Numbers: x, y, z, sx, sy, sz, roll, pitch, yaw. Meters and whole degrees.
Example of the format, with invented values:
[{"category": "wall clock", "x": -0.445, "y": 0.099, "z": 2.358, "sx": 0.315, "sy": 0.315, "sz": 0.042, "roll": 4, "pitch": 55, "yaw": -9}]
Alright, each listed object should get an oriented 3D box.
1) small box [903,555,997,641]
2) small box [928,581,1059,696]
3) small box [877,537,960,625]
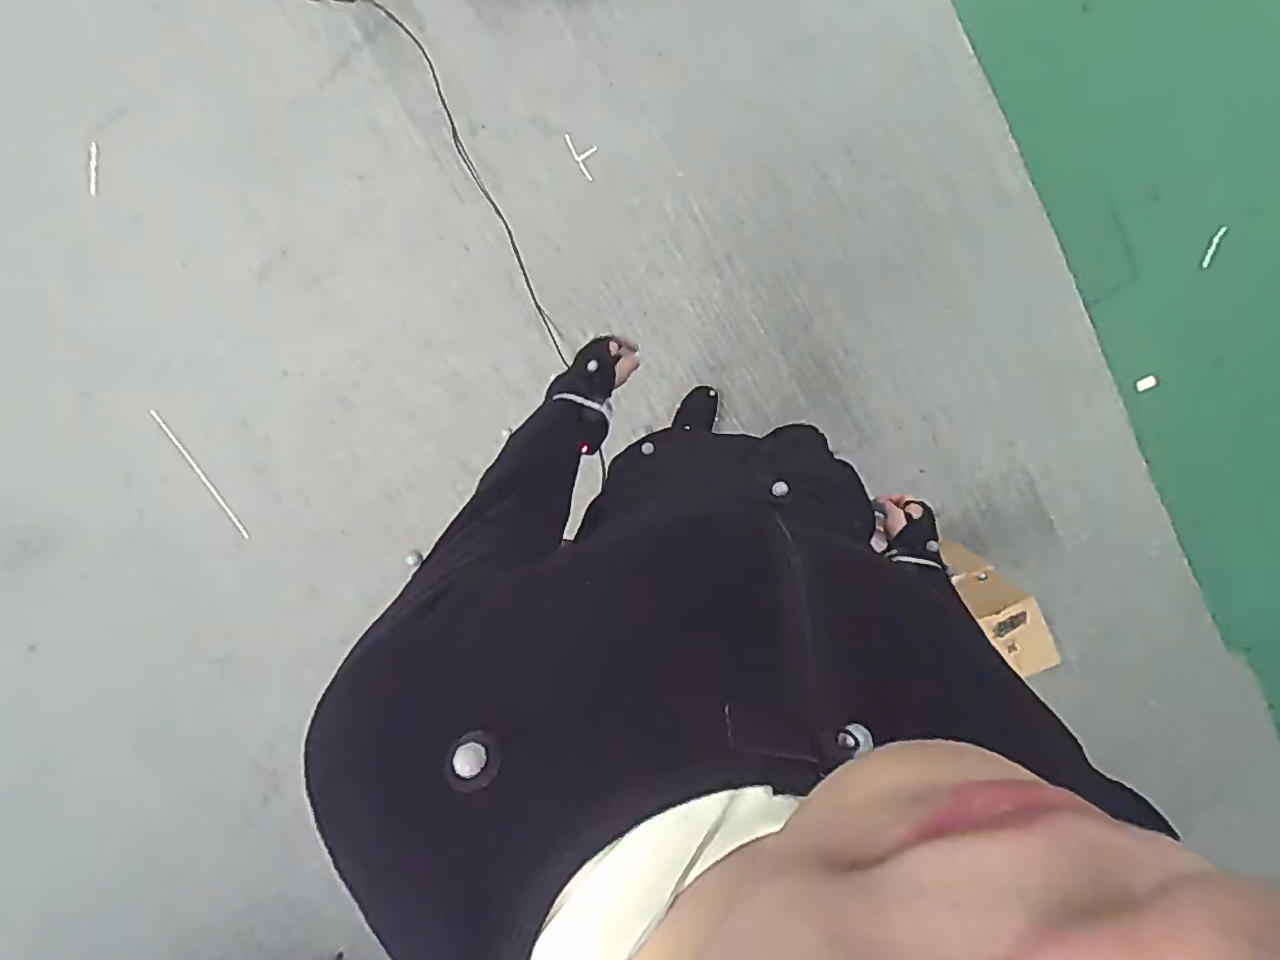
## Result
[{"category": "small box", "x": 0.819, "y": 0.311, "z": 1.410, "sx": 0.168, "sy": 0.176, "sz": 0.179, "roll": -24, "pitch": 97, "yaw": 8}, {"category": "small box", "x": 0.805, "y": 0.354, "z": 1.251, "sx": 0.168, "sy": 0.176, "sz": 0.179, "roll": -26, "pitch": 99, "yaw": 7}, {"category": "small box", "x": 0.824, "y": 0.286, "z": 1.571, "sx": 0.179, "sy": 0.176, "sz": 0.168, "roll": -24, "pitch": 98, "yaw": 7}]
